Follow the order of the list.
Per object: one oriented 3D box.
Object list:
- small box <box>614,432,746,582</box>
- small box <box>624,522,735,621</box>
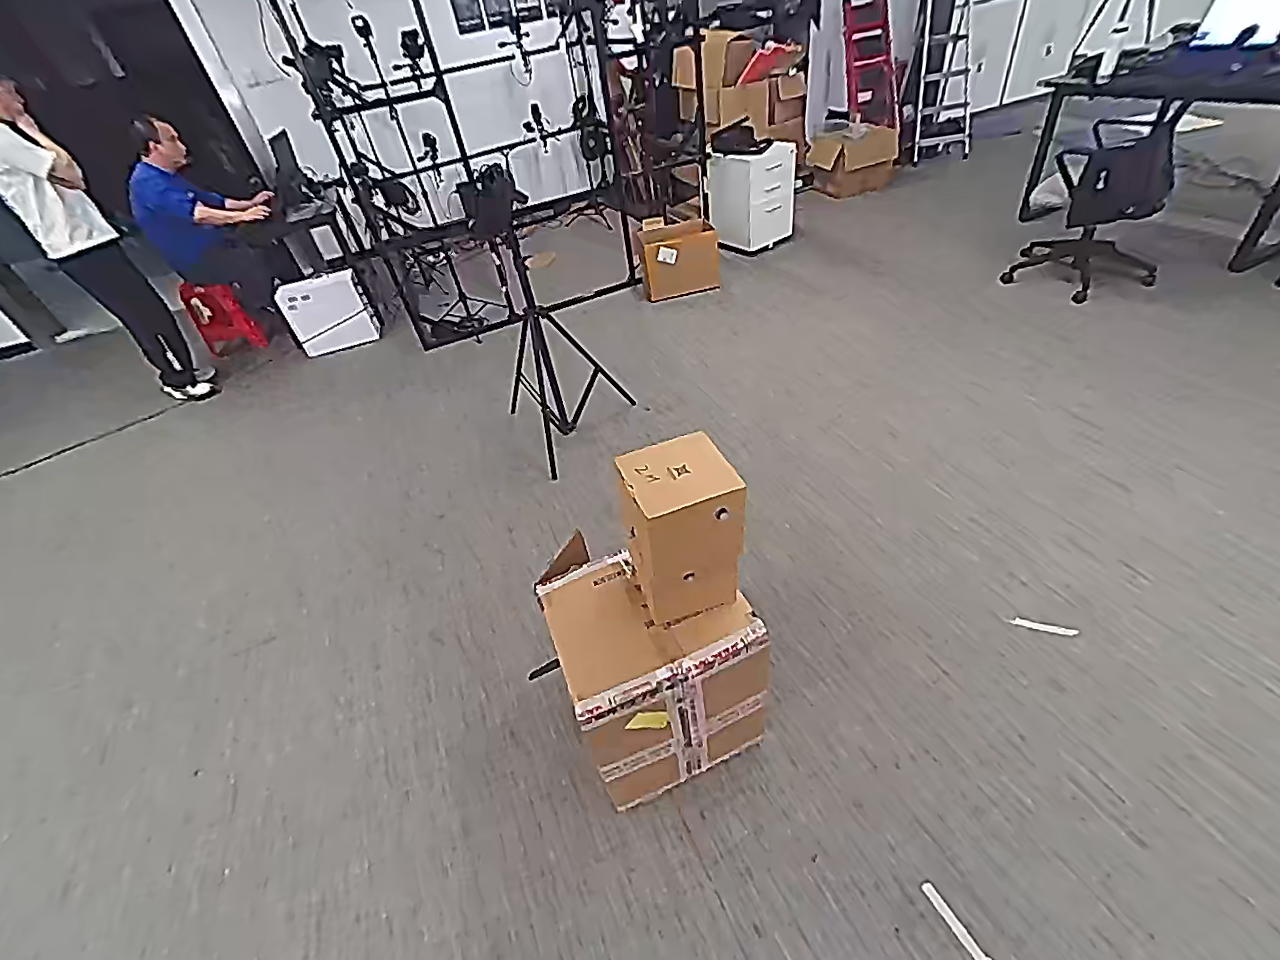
[{"bbox_3d":[0.067,0.048,0.947,0.179,0.176,0.168,-18,43,-12],"label":"small box"},{"bbox_3d":[0.080,0.153,1.076,0.179,0.176,0.168,-16,43,-9],"label":"small box"}]
